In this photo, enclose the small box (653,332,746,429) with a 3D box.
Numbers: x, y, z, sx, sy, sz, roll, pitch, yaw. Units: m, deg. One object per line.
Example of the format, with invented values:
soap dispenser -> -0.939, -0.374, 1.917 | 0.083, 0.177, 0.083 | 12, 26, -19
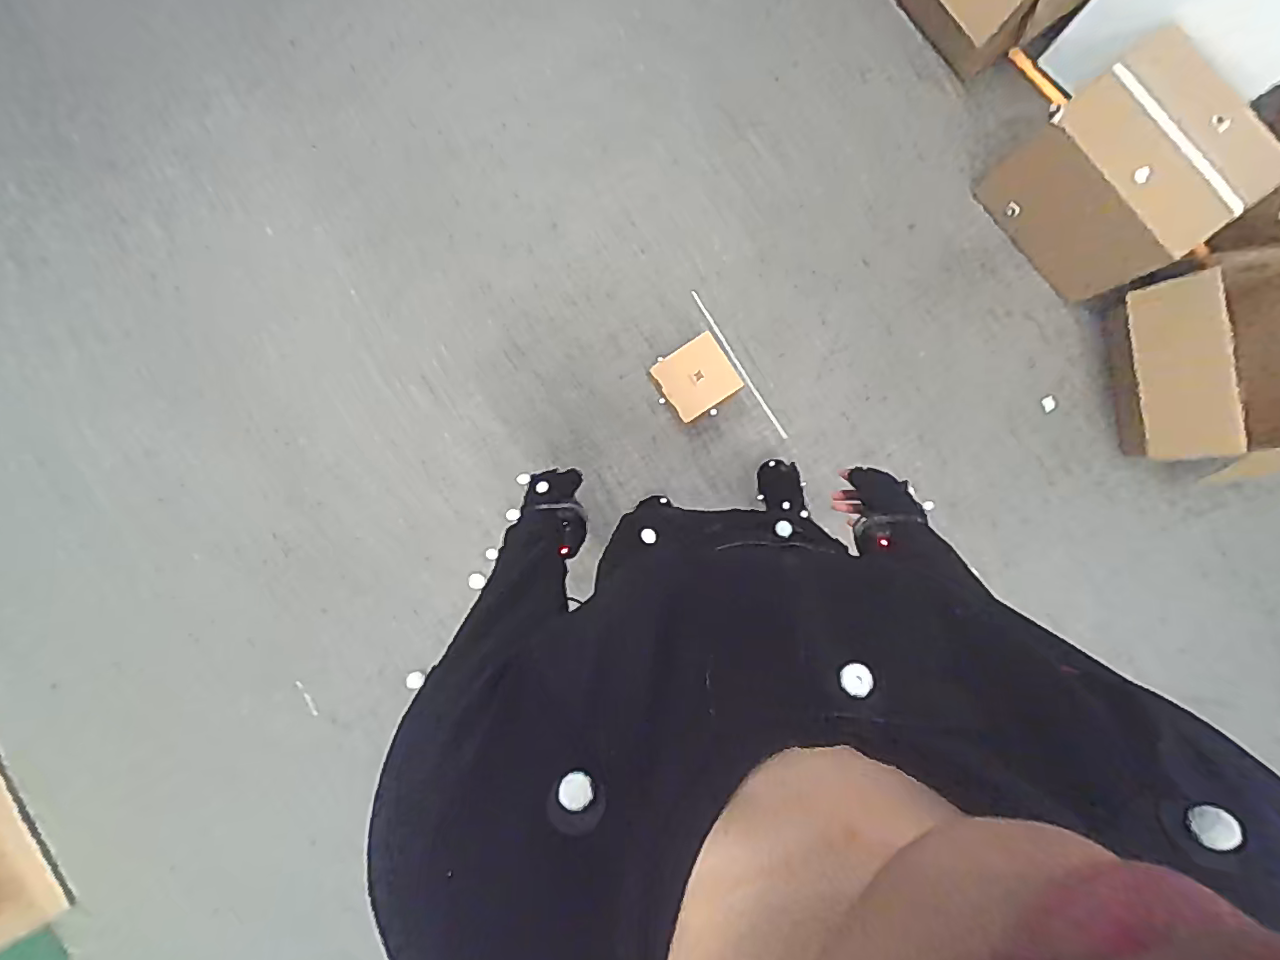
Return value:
small box -> 0.147, -0.247, 1.391 | 0.179, 0.176, 0.168 | -33, 88, 3
